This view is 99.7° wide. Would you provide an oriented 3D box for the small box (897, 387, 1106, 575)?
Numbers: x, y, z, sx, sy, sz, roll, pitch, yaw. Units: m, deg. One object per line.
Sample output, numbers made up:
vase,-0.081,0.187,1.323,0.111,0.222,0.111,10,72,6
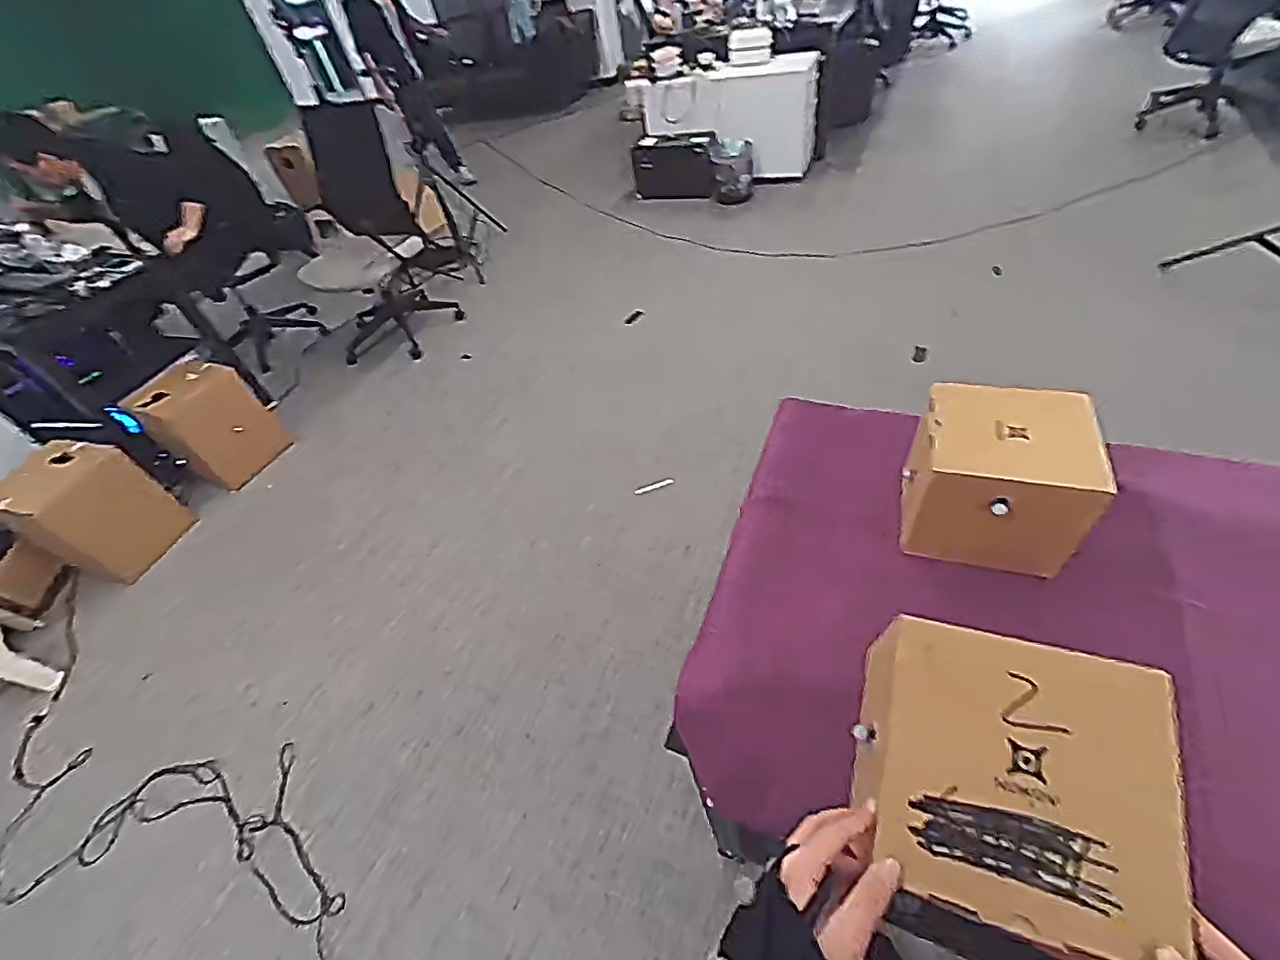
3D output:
small box,0.448,0.003,0.701,0.179,0.176,0.168,9,50,19
